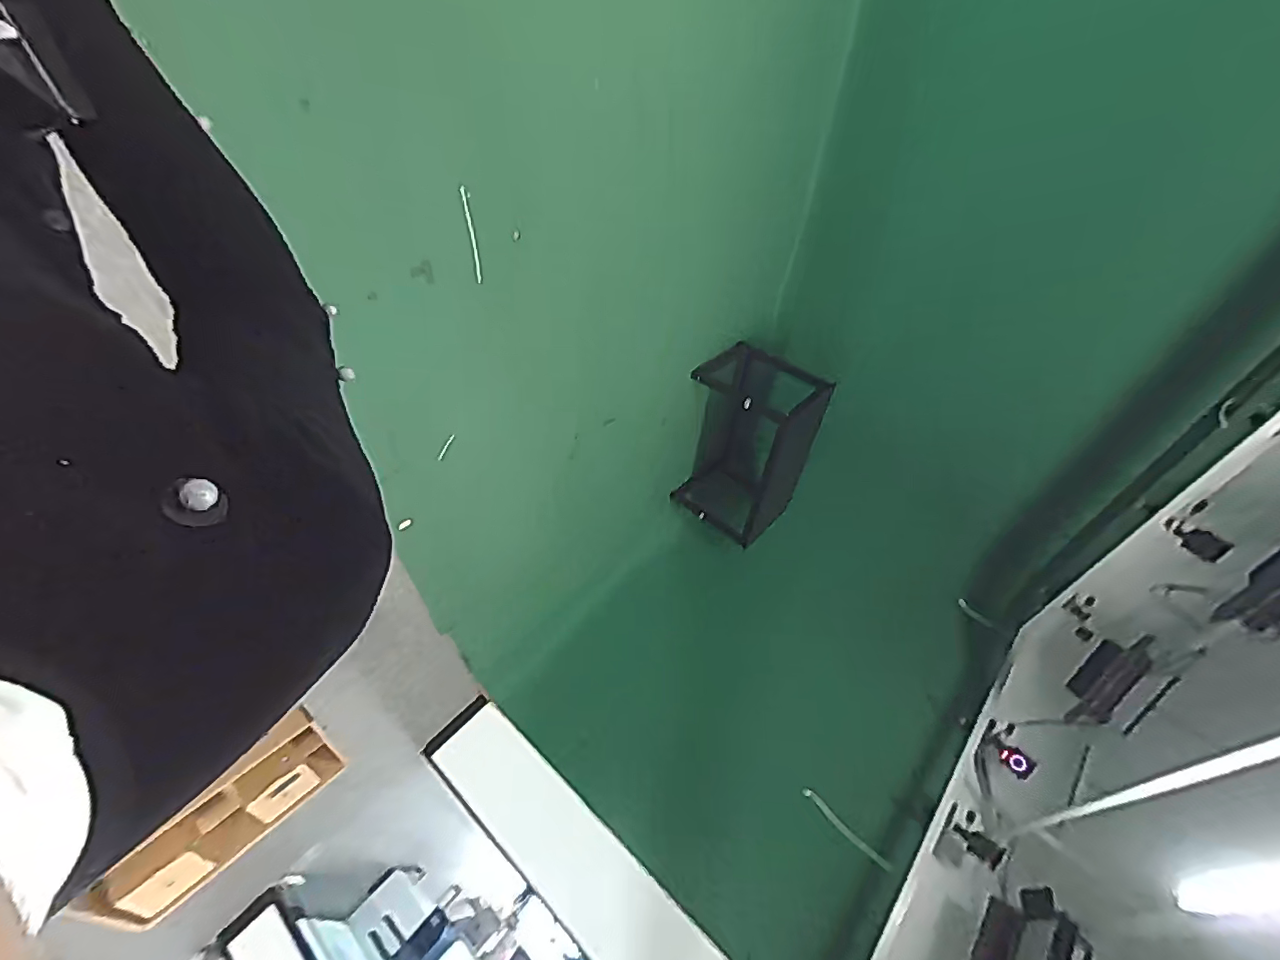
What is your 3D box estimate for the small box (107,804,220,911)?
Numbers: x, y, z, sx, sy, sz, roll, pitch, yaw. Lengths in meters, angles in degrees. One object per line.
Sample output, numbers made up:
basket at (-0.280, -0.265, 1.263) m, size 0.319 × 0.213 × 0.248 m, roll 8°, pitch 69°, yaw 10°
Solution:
small box at (-1.341, 1.060, 1.525) m, size 0.168 × 0.176 × 0.179 m, roll -35°, pitch 146°, yaw -34°
